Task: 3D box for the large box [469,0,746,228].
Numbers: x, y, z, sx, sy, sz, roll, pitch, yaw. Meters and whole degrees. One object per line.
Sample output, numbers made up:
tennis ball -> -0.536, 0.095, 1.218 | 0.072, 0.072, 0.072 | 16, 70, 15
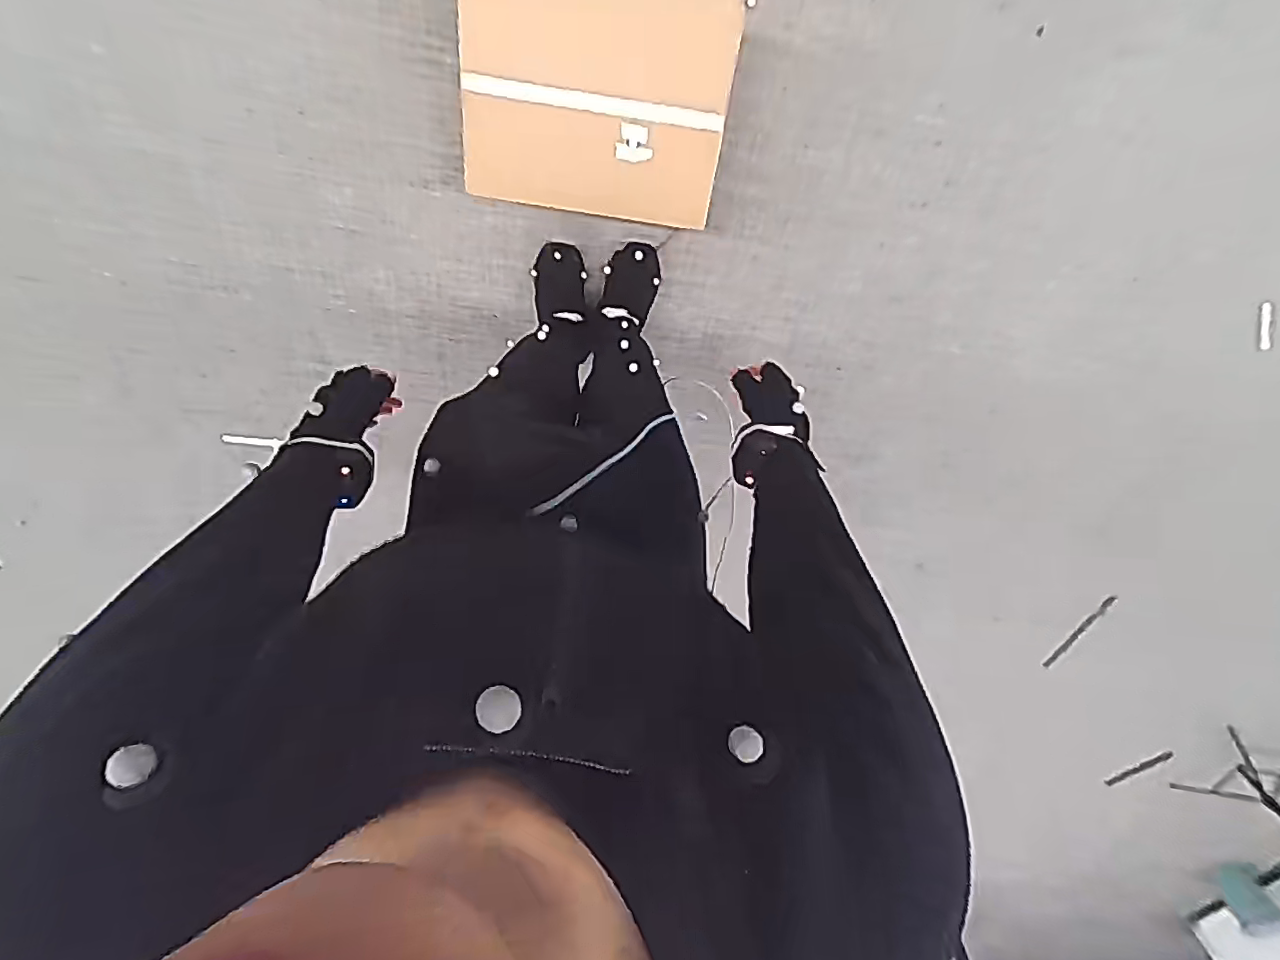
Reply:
large box -> -0.065, -0.667, 0.969 | 0.408, 0.320, 0.320 | 6, 125, -5
